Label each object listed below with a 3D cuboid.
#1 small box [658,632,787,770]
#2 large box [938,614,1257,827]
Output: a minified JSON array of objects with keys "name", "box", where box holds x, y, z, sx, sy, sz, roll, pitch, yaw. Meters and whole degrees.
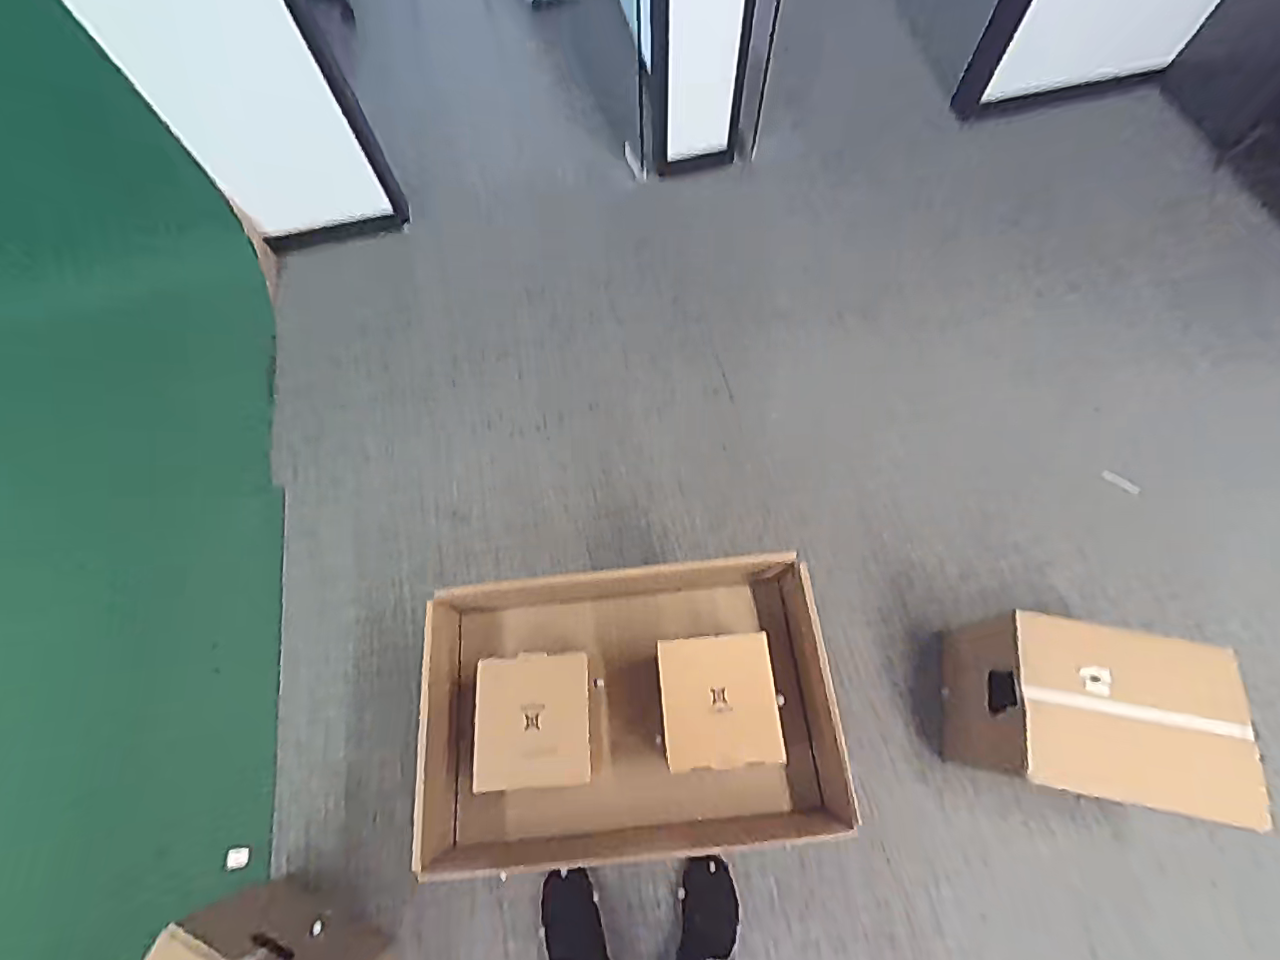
[{"name":"small box","box":[0.118,0.343,0.849,0.168,0.176,0.179,-5,69,-1]},{"name":"large box","box":[0.911,0.491,1.147,0.408,0.320,0.320,9,67,6]}]
